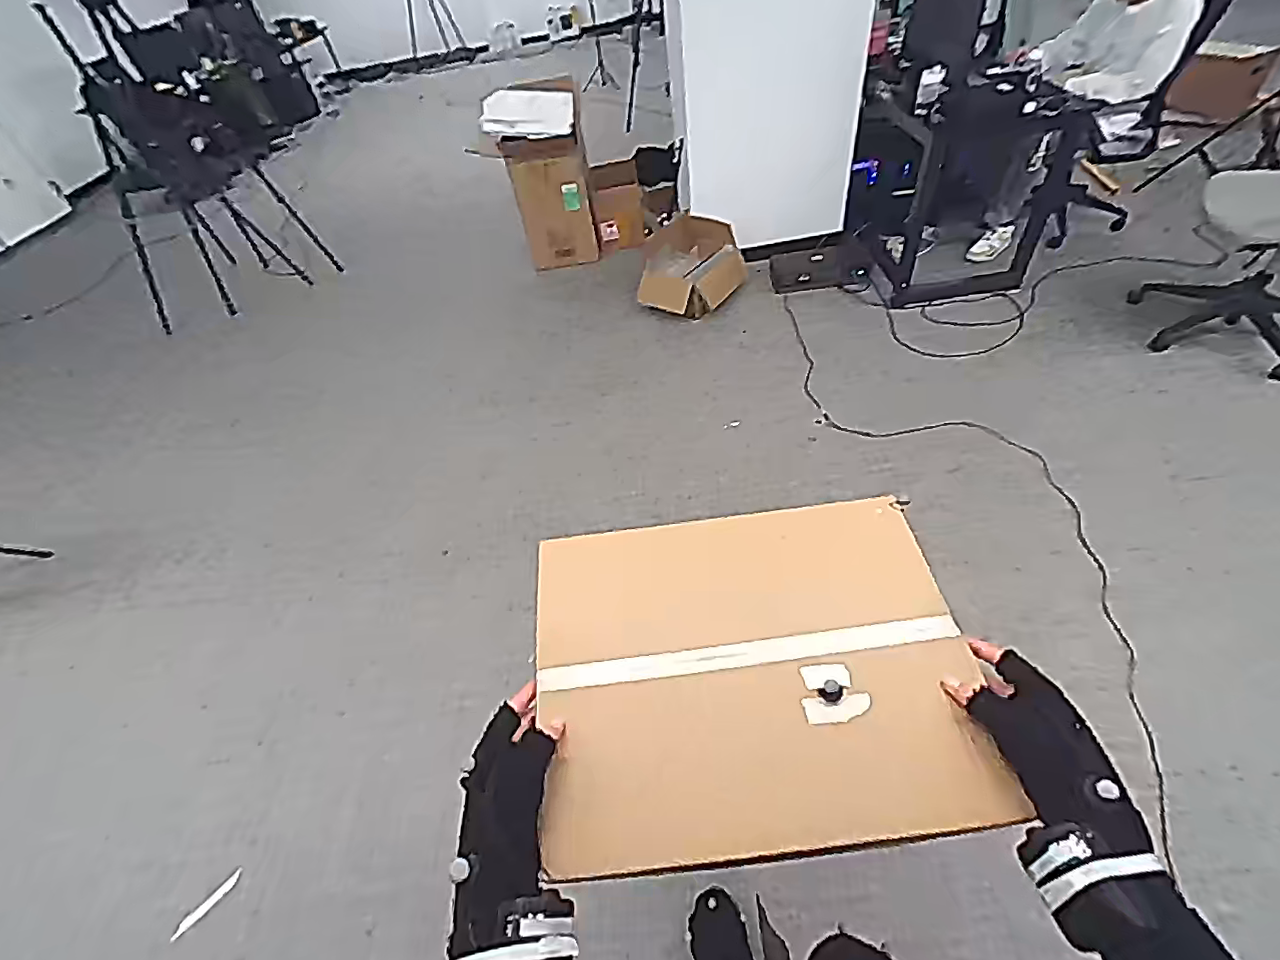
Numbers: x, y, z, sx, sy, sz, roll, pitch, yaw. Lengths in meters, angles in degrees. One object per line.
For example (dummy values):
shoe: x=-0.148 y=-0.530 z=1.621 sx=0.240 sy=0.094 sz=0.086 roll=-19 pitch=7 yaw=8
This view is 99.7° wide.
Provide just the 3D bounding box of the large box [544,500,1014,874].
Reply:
large box: x=0.112 y=0.260 z=0.654 sx=0.408 sy=0.320 sz=0.320 roll=-7 pitch=53 yaw=1
